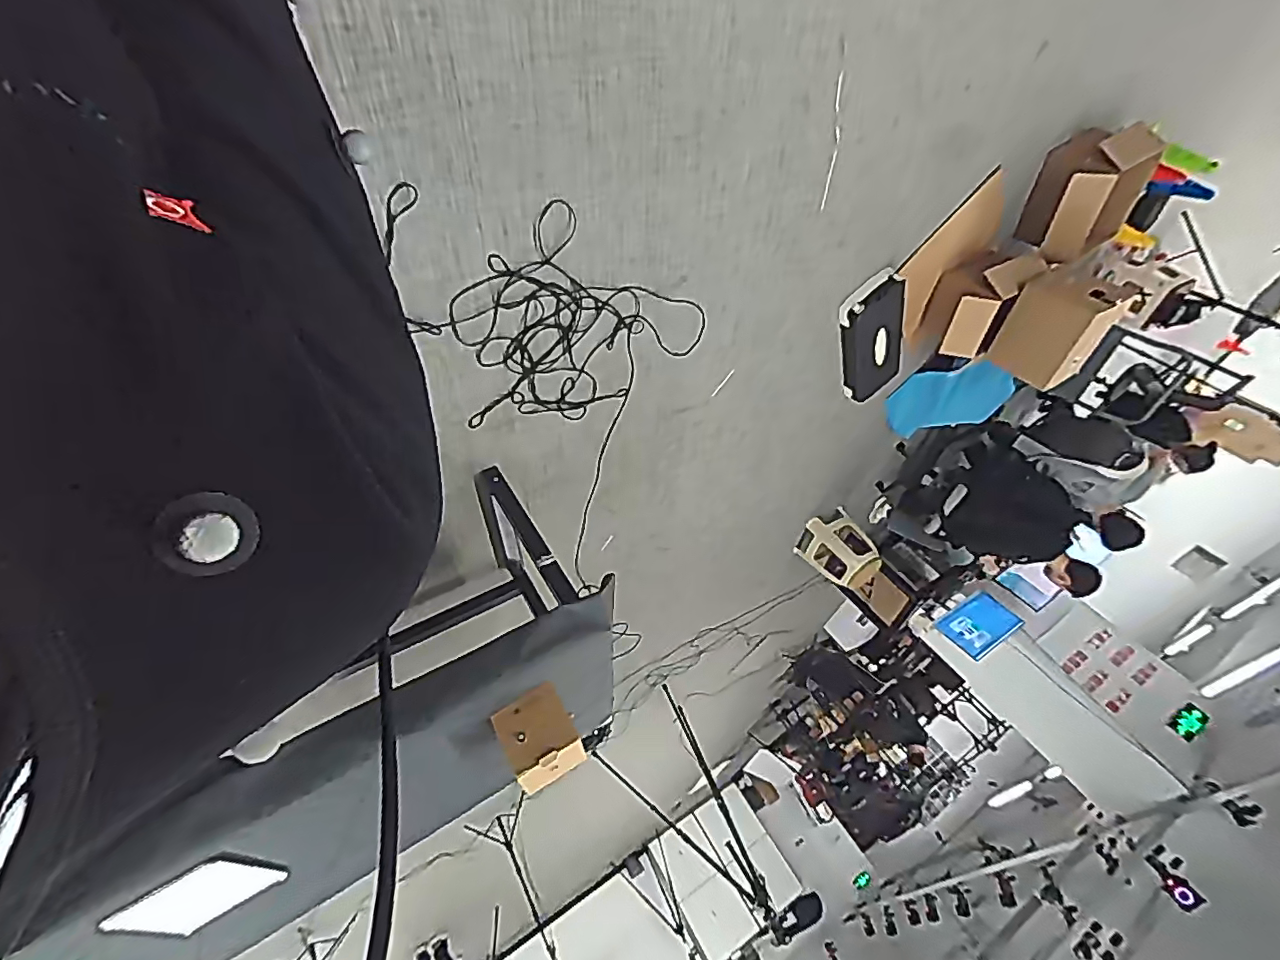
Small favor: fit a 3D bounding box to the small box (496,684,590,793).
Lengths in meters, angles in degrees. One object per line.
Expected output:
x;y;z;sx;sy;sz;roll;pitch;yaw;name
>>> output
-0.244;0.644;1.359;0.168;0.176;0.179;-26;144;-18;small box
